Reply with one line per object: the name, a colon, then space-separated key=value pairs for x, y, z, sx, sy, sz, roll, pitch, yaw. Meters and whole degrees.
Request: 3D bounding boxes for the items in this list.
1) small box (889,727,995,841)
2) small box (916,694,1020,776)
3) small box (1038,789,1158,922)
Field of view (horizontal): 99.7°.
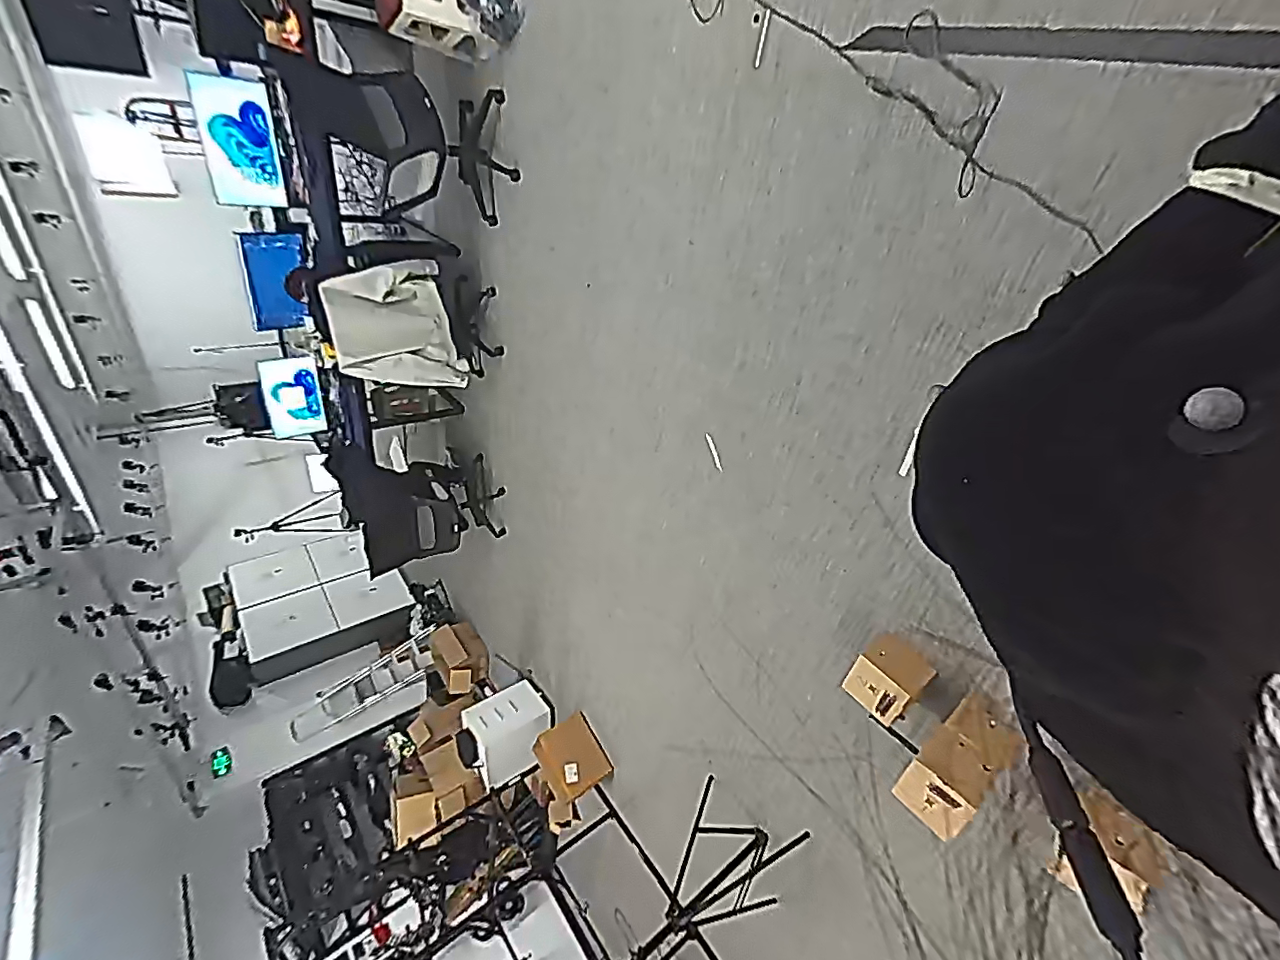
small box: x=0.812 y=0.805 z=1.449 sx=0.168 sy=0.176 sz=0.179 roll=38 pitch=133 yaw=38
small box: x=0.938 y=0.754 z=1.542 sx=0.168 sy=0.176 sz=0.179 roll=41 pitch=134 yaw=35
small box: x=1.143 y=0.924 z=1.348 sx=0.179 sy=0.176 sz=0.168 roll=25 pitch=124 yaw=44
